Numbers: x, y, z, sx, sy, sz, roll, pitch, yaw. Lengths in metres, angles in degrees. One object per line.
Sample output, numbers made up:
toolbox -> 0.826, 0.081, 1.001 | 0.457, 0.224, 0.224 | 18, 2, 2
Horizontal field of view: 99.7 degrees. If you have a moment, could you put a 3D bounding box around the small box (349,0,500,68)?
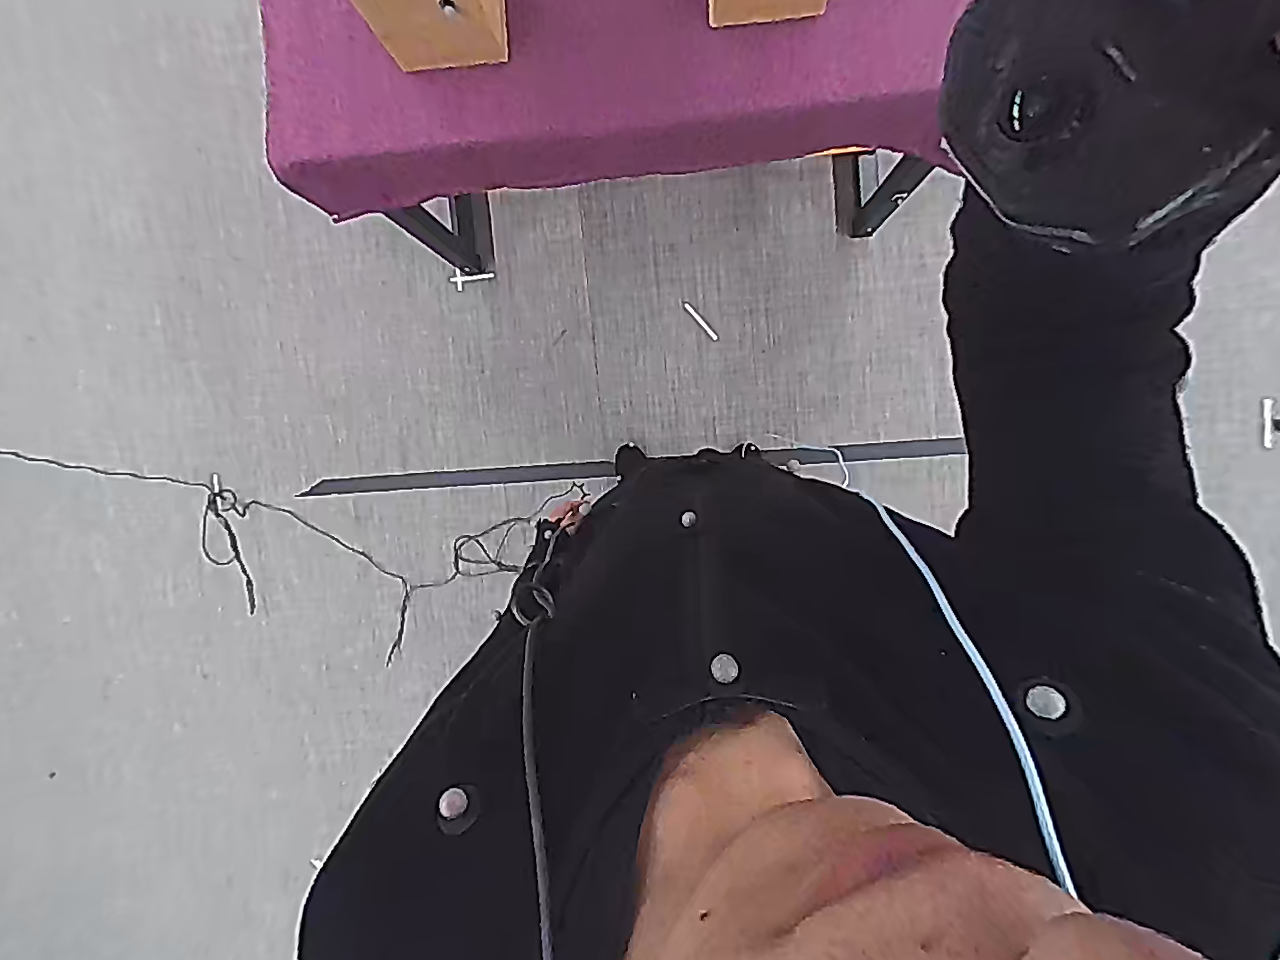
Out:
small box -> -0.308, -0.737, 0.778 | 0.179, 0.176, 0.168 | -2, 94, 4

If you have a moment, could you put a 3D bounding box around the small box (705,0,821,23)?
small box -> 0.177, -0.778, 0.744 | 0.179, 0.176, 0.168 | -3, 94, 4
